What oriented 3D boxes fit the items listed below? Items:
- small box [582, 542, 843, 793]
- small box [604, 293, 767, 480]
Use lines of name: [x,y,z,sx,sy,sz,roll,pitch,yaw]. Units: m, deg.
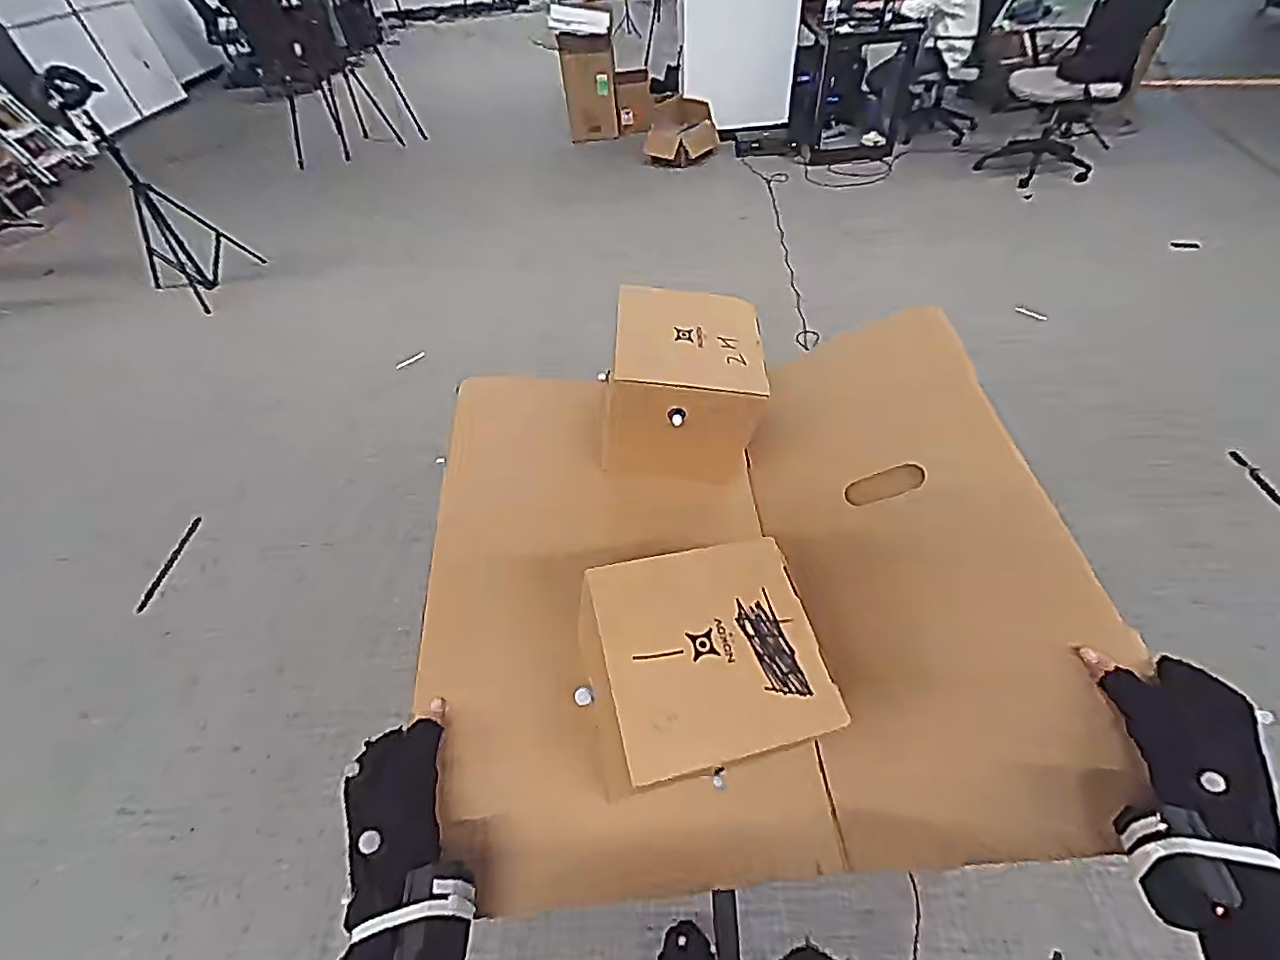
small box: [0.048,0.178,0.506,0.179,0.176,0.168,-8,58,-14]
small box: [0.049,-0.114,0.703,0.179,0.176,0.168,6,56,-6]
